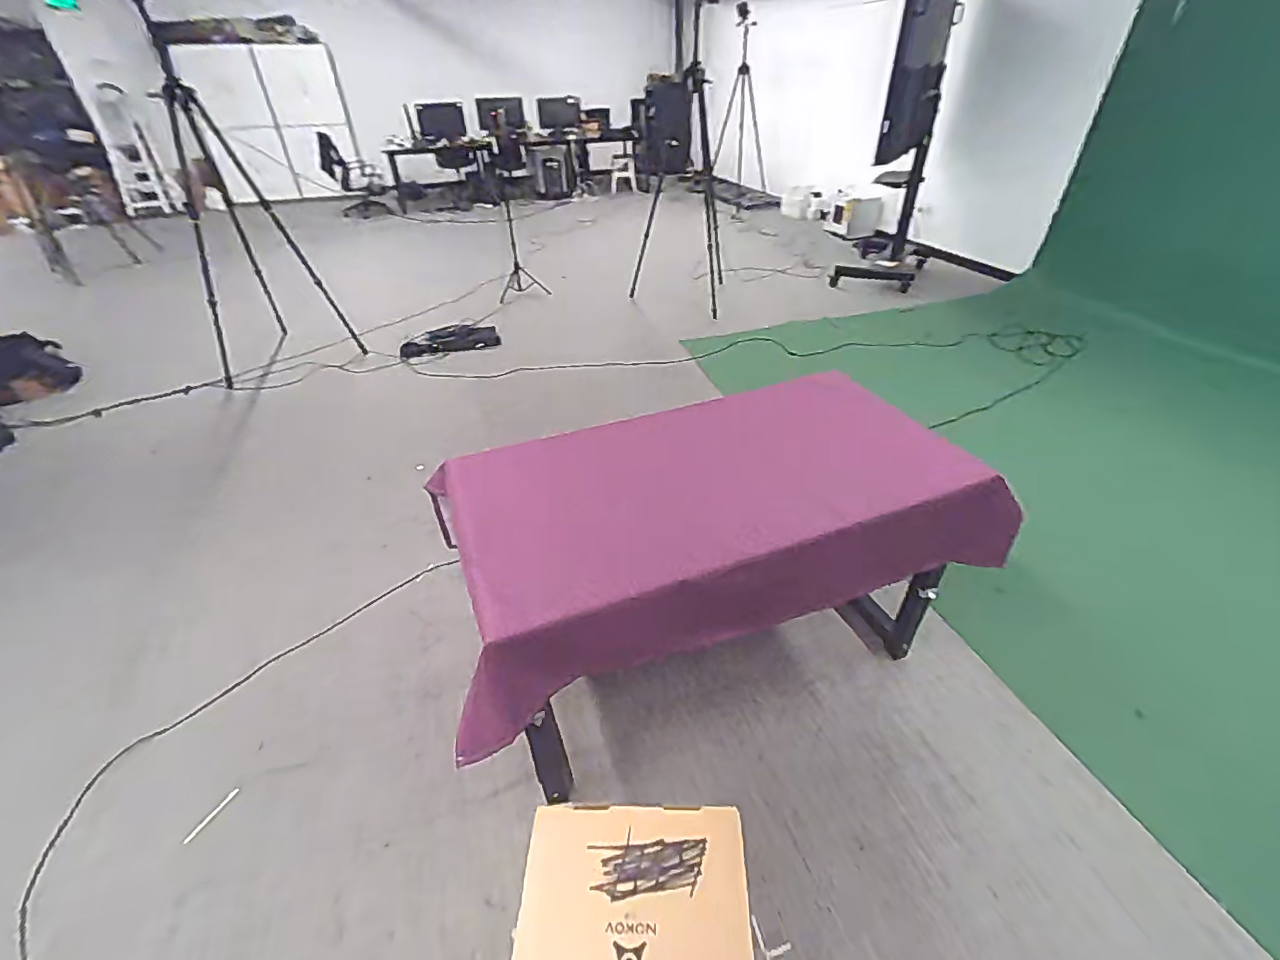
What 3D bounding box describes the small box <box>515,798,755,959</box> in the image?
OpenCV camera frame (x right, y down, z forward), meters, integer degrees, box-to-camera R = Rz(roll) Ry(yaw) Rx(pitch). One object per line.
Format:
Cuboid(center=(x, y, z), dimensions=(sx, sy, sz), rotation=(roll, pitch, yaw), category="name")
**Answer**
Cuboid(center=(0.002, 0.378, 0.427), dimensions=(0.168, 0.176, 0.179), rotation=(-3, 41, 5), category="small box")
